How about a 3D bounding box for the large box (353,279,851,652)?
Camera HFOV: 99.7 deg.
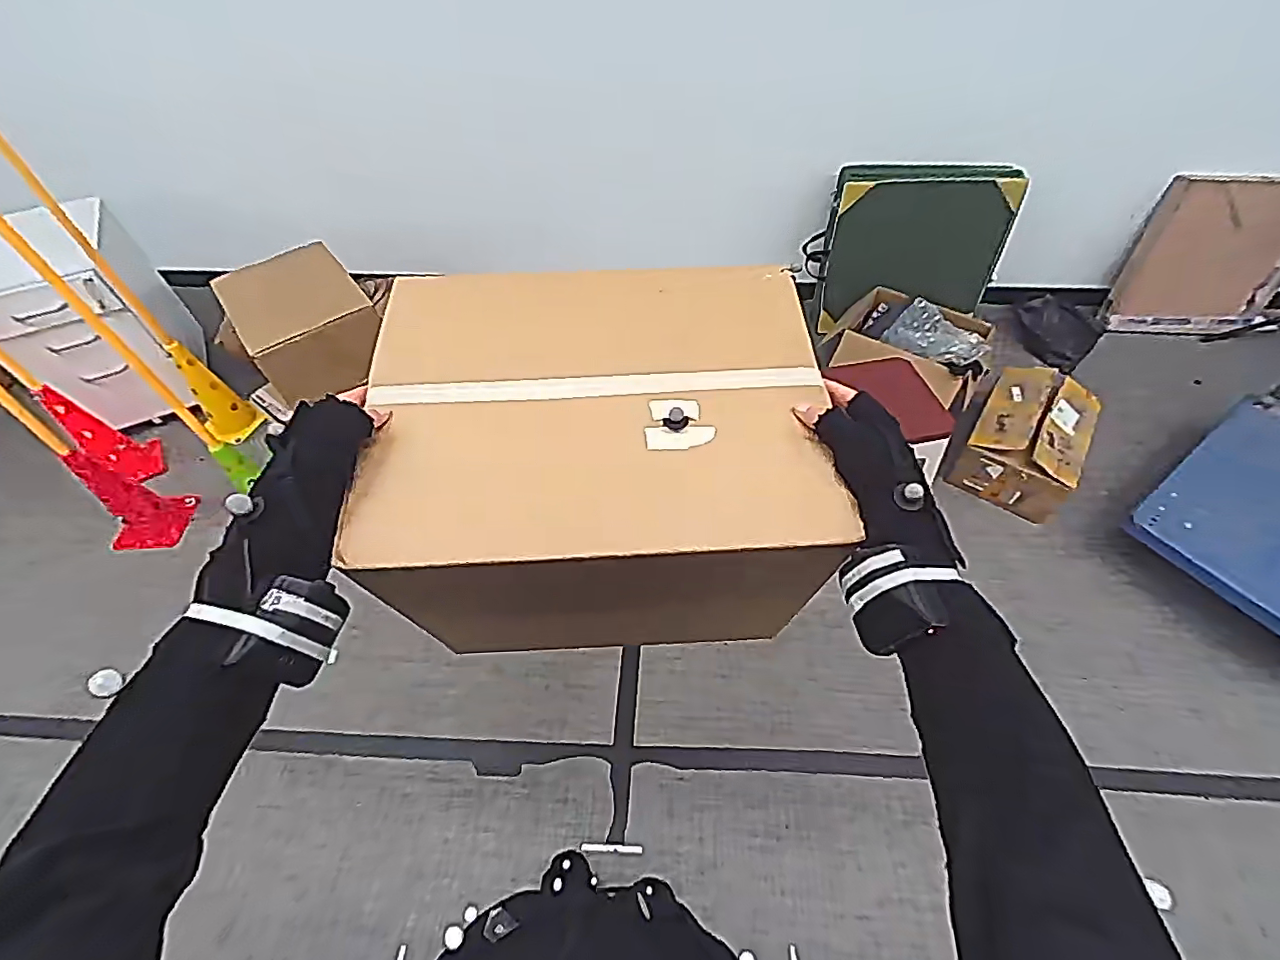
[{"bbox_3d":[-0.038,-0.001,0.626,0.408,0.320,0.320,-2,61,-2],"label":"large box"}]
